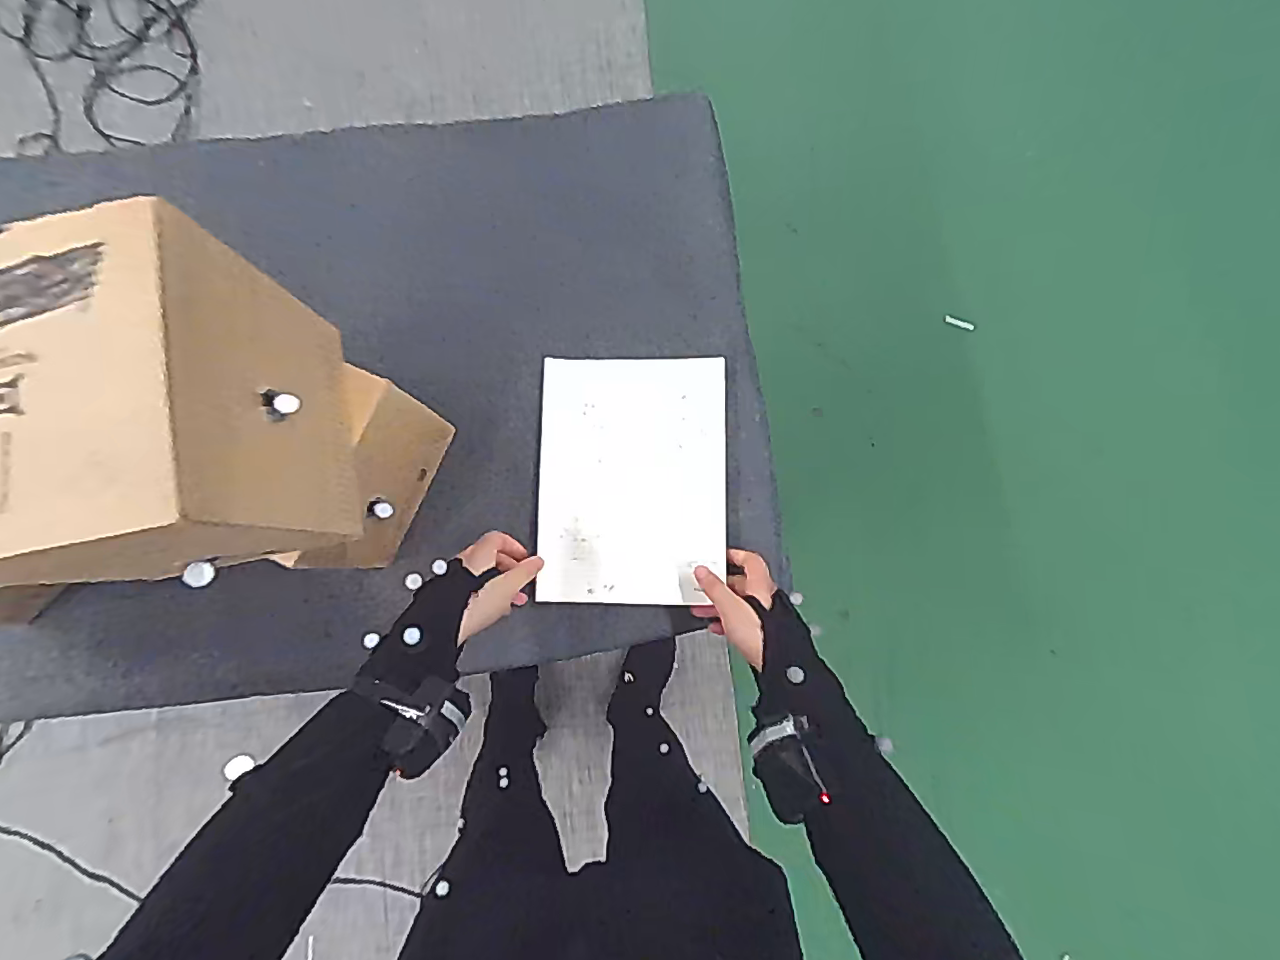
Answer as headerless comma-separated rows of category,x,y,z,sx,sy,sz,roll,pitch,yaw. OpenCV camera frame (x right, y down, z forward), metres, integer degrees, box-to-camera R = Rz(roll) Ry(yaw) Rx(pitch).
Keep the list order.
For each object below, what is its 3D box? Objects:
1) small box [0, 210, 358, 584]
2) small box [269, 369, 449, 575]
small box,-0.310,-0.031,0.347,0.168,0.176,0.179,-11,82,0
small box,-0.312,-0.022,0.512,0.179,0.176,0.168,22,82,4
